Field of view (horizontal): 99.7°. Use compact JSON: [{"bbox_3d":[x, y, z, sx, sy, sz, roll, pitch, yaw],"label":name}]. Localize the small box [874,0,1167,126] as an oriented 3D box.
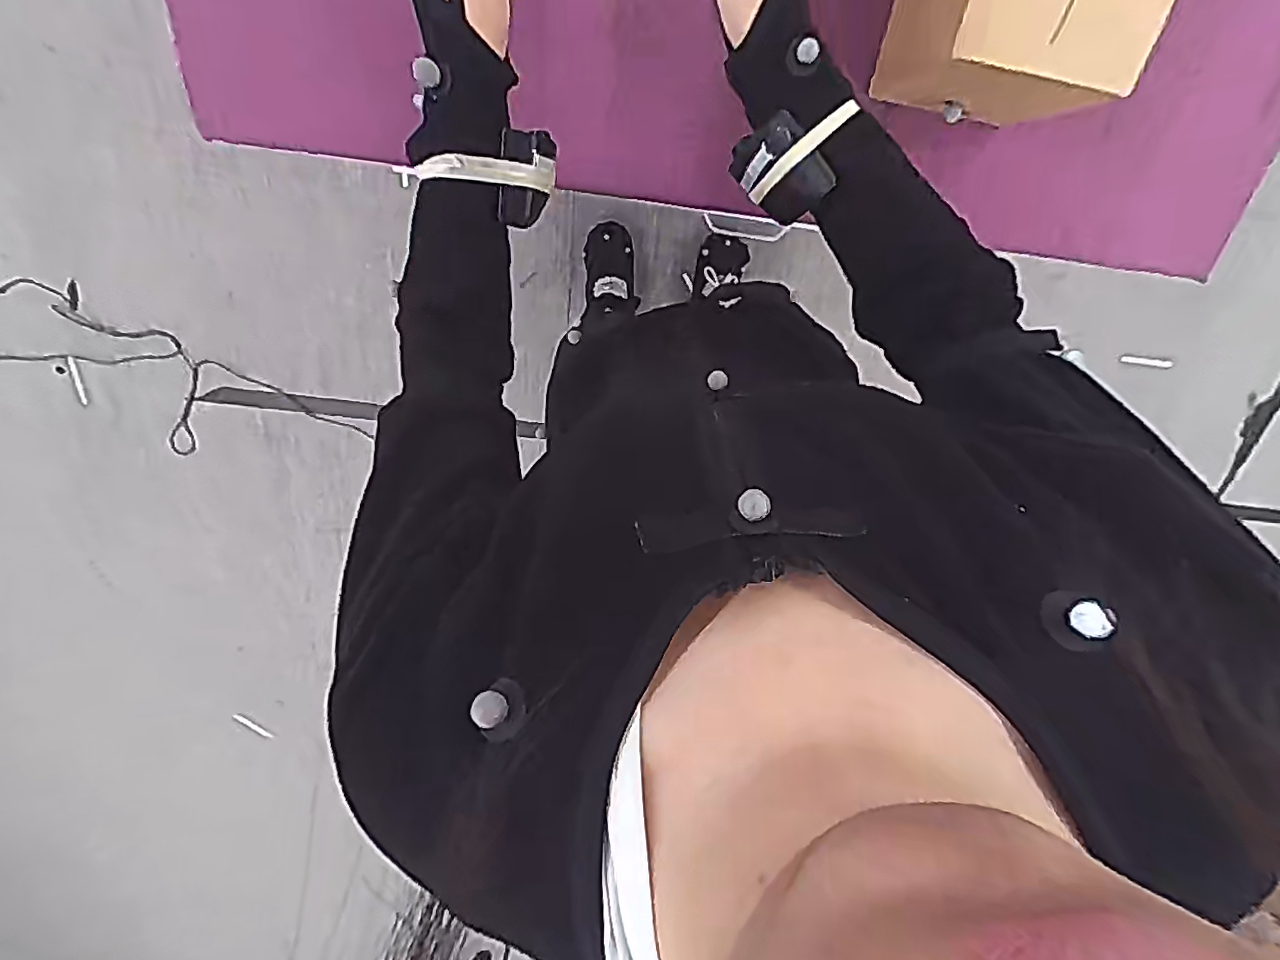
[{"bbox_3d":[0.343,-0.449,0.490,0.168,0.176,0.179,8,115,-6],"label":"small box"}]
